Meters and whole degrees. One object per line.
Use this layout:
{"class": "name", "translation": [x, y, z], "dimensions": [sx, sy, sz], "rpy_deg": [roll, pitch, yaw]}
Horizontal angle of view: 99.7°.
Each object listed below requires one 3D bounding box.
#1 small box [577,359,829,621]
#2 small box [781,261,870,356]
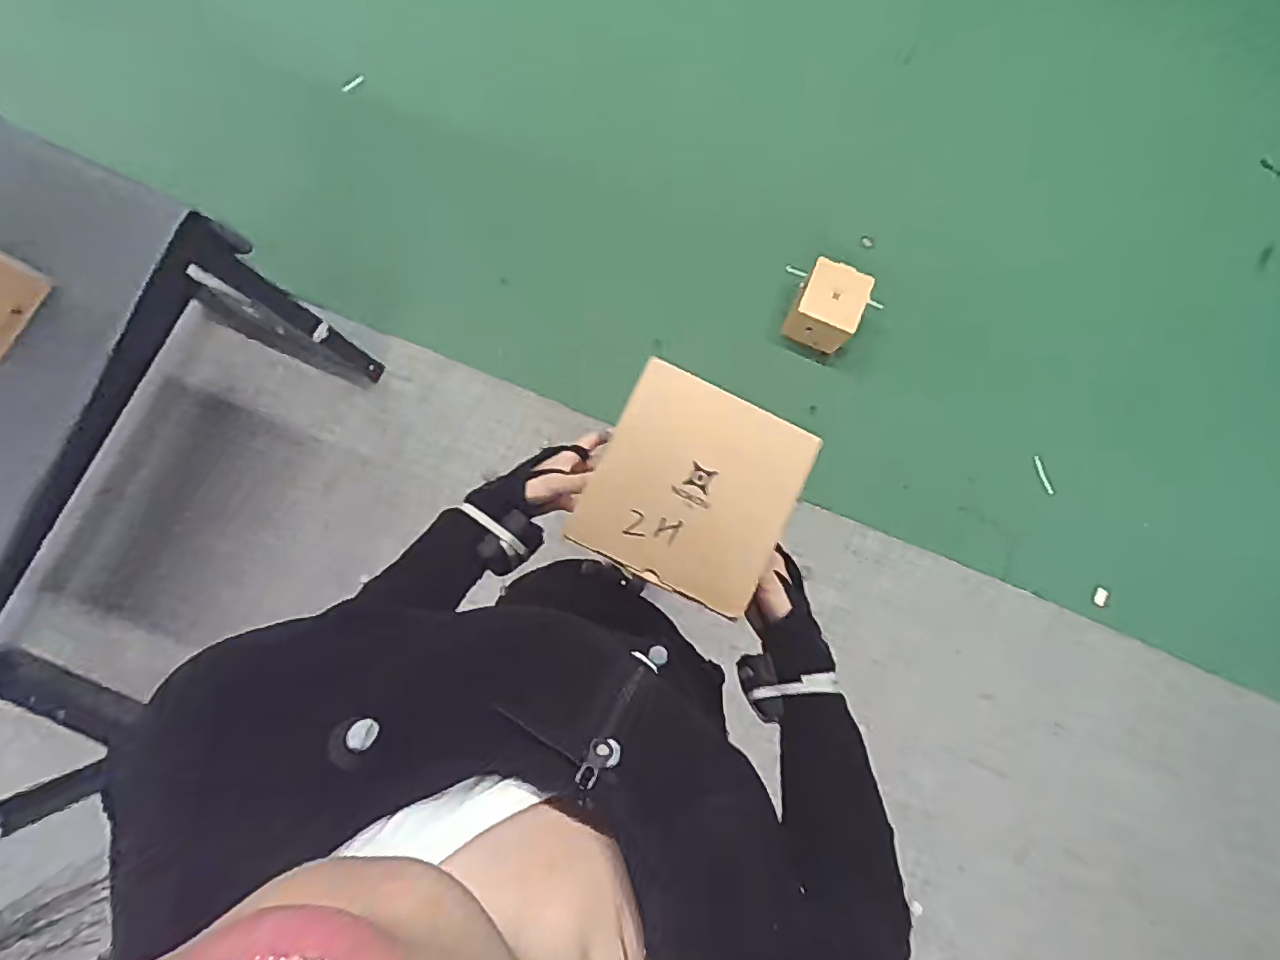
{"class": "small box", "translation": [0.051, 0.014, 0.539], "dimensions": [0.168, 0.176, 0.179], "rpy_deg": [28, 83, 1]}
{"class": "small box", "translation": [0.521, -0.480, 1.547], "dimensions": [0.168, 0.176, 0.179], "rpy_deg": [23, 81, 2]}
